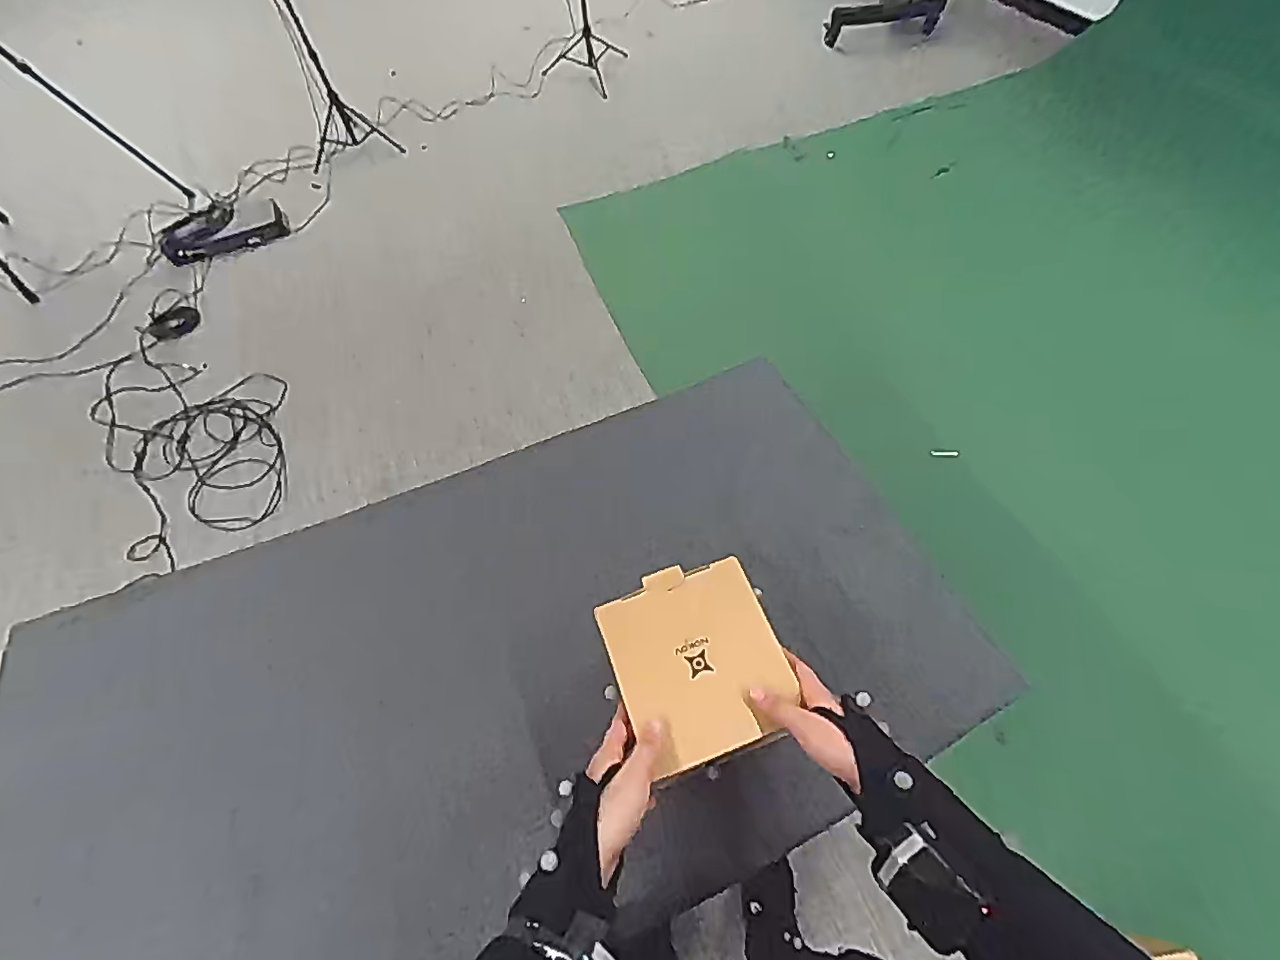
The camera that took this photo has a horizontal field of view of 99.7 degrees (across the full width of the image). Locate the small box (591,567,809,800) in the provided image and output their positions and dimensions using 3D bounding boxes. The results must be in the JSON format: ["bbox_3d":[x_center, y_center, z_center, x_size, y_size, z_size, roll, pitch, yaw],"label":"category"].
[{"bbox_3d":[0.060,0.226,0.593,0.168,0.176,0.179,-20,59,-6],"label":"small box"}]

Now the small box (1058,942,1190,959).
[{"bbox_3d":[0.888,0.948,0.954,0.179,0.176,0.168,-8,60,-1],"label":"small box"}]
